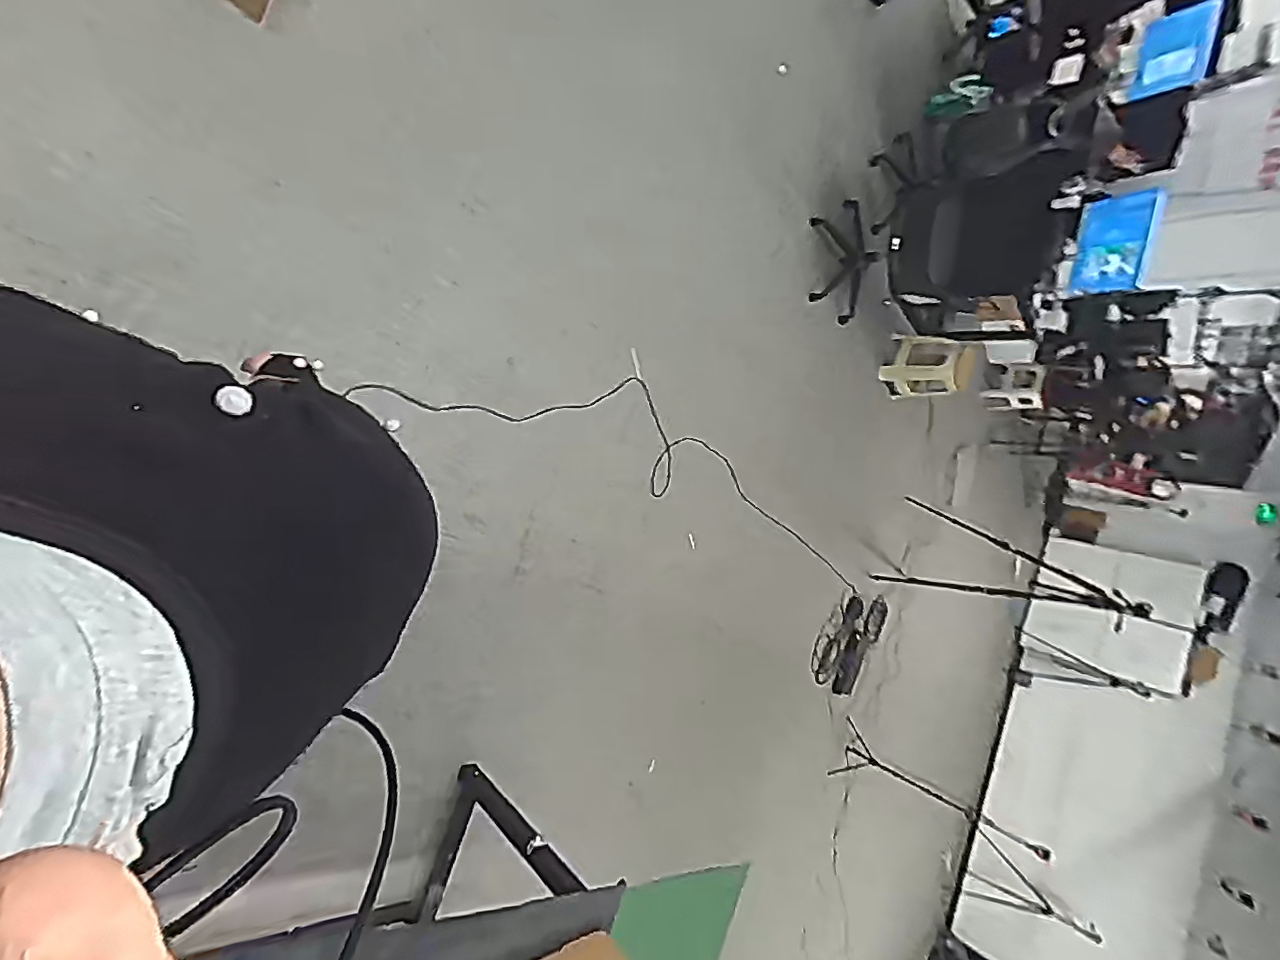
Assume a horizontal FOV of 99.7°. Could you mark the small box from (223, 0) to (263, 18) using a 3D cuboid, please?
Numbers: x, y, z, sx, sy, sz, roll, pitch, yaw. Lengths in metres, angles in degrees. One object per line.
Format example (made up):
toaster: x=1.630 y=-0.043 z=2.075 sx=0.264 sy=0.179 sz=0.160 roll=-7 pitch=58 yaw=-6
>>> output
small box: x=-0.813 y=-1.088 z=1.074 sx=0.168 sy=0.176 sz=0.179 roll=27 pitch=82 yaw=-45
